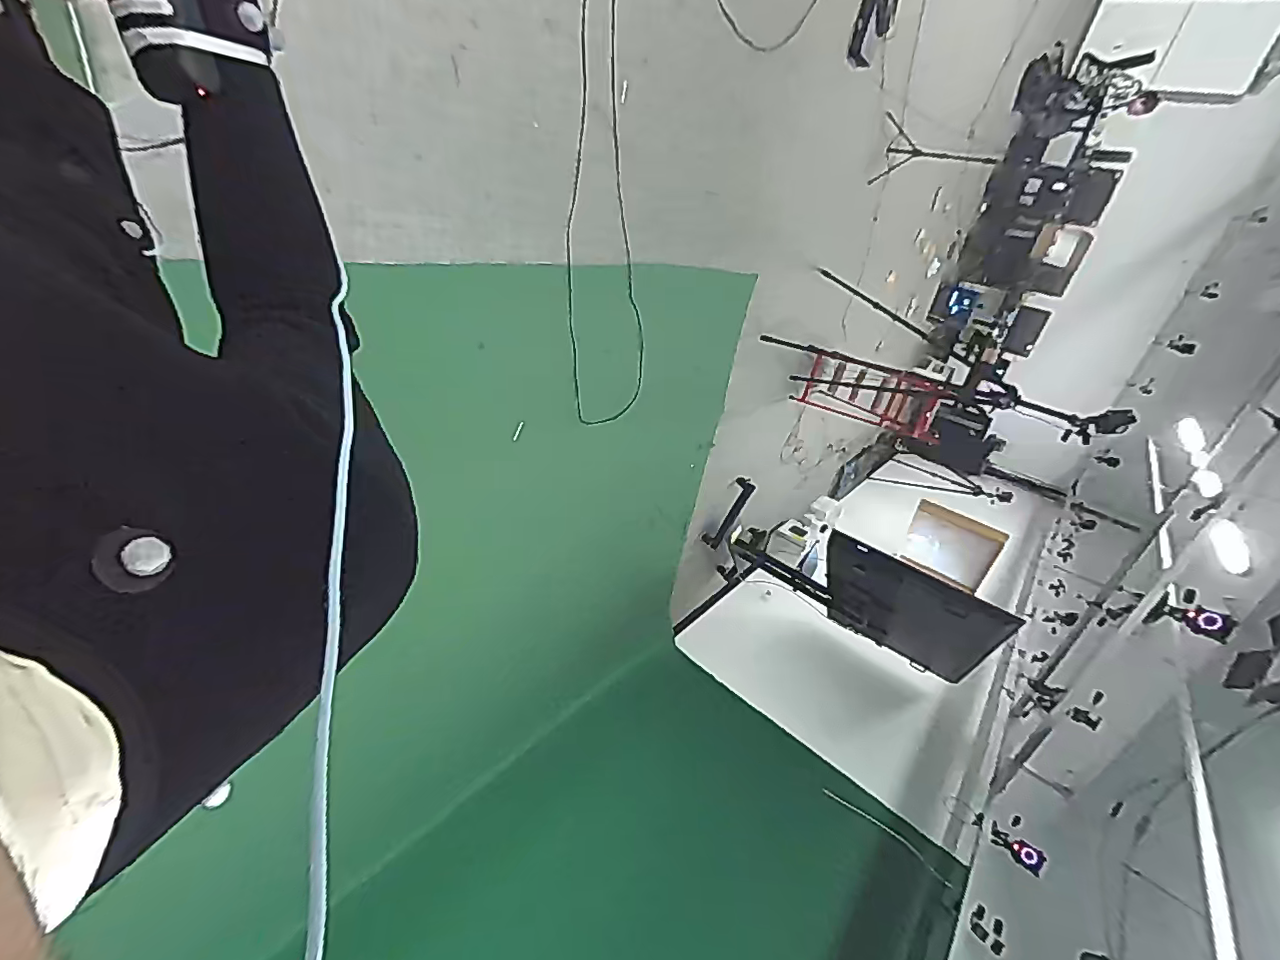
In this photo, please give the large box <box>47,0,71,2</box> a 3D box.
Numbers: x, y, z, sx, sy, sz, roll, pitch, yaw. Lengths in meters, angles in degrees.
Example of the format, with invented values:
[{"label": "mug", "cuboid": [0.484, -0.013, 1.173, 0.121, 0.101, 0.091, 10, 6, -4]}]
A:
[{"label": "large box", "cuboid": [-0.557, -0.485, 0.245, 0.408, 0.320, 0.320, -22, 133, -46]}]
